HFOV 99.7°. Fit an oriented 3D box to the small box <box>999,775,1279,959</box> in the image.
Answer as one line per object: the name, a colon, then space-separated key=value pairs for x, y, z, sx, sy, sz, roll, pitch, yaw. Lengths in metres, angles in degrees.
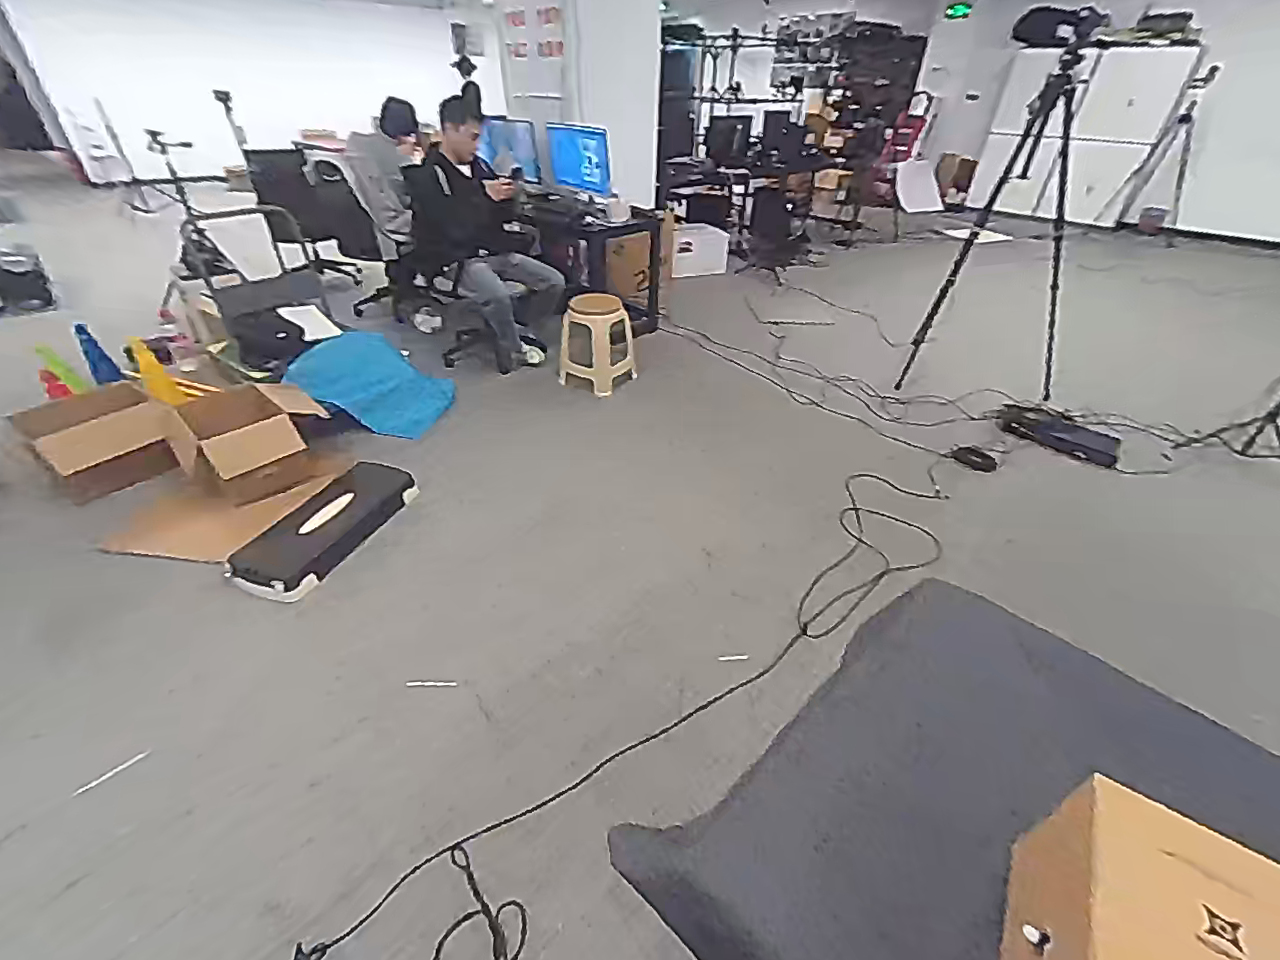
small box: x=0.424 y=0.400 z=0.444 sx=0.168 sy=0.176 sz=0.179 roll=24 pitch=41 yaw=24
